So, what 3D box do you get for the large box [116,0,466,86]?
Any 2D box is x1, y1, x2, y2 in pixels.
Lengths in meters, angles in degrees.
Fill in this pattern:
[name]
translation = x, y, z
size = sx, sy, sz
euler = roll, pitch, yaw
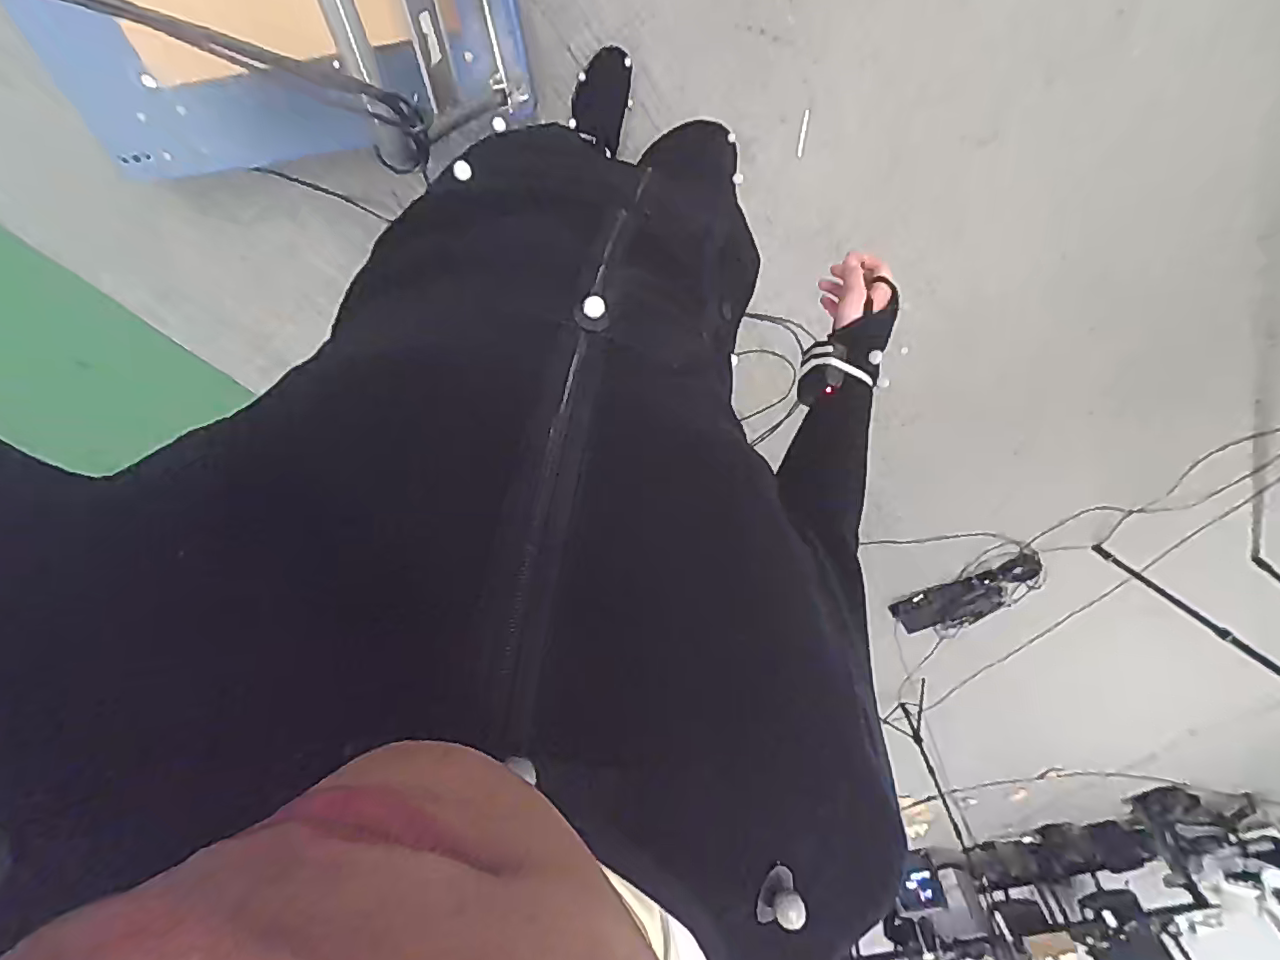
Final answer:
[large box]
translation = -0.526, -0.821, 0.787
size = 0.408, 0.320, 0.320
euler = -8, 132, 5
